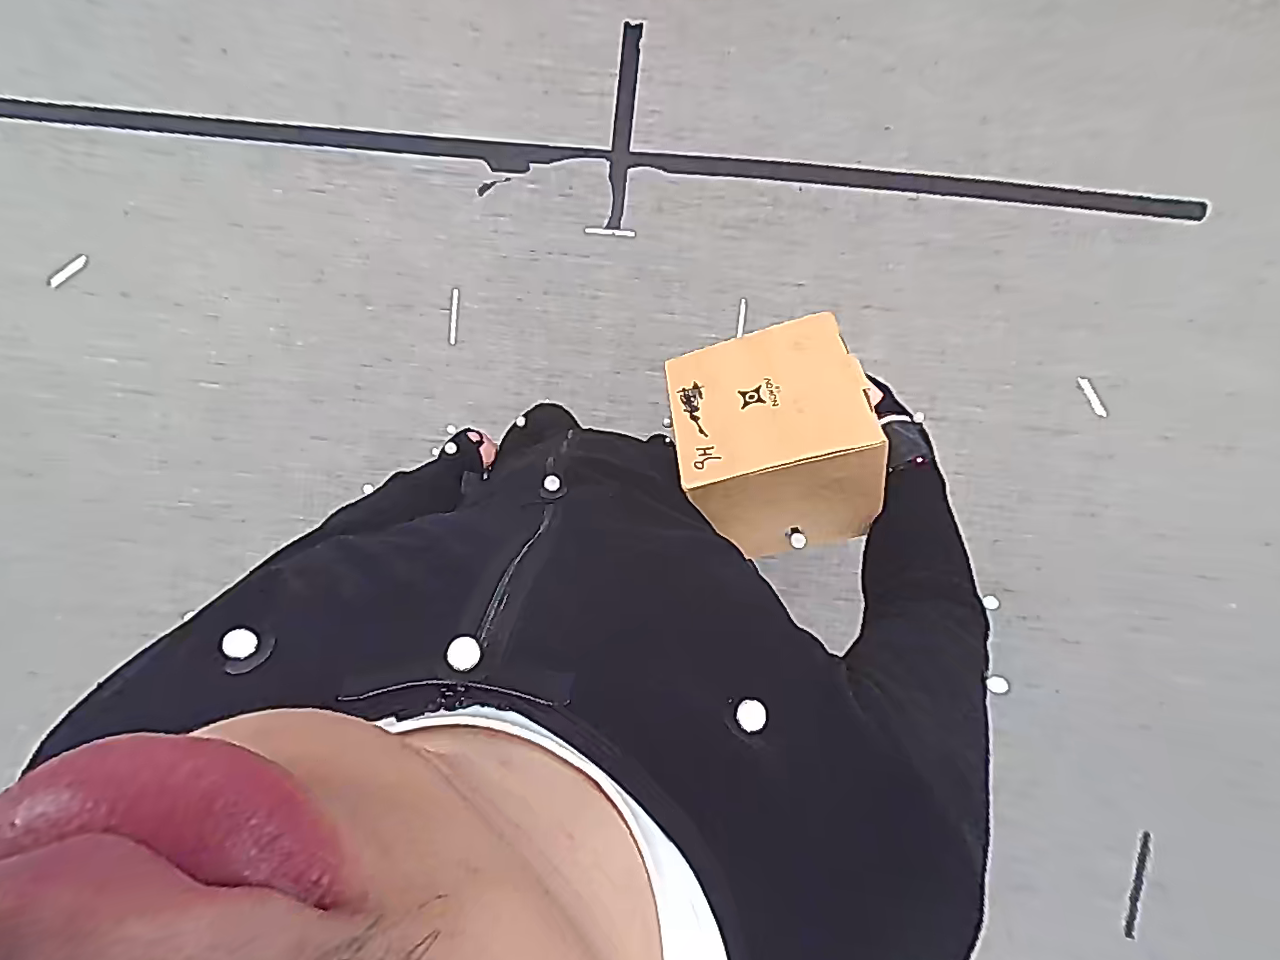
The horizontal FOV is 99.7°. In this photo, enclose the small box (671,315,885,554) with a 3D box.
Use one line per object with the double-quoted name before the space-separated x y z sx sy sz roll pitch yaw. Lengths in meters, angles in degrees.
"small box" 0.144 -0.039 0.582 0.179 0.176 0.168 -14 54 13
